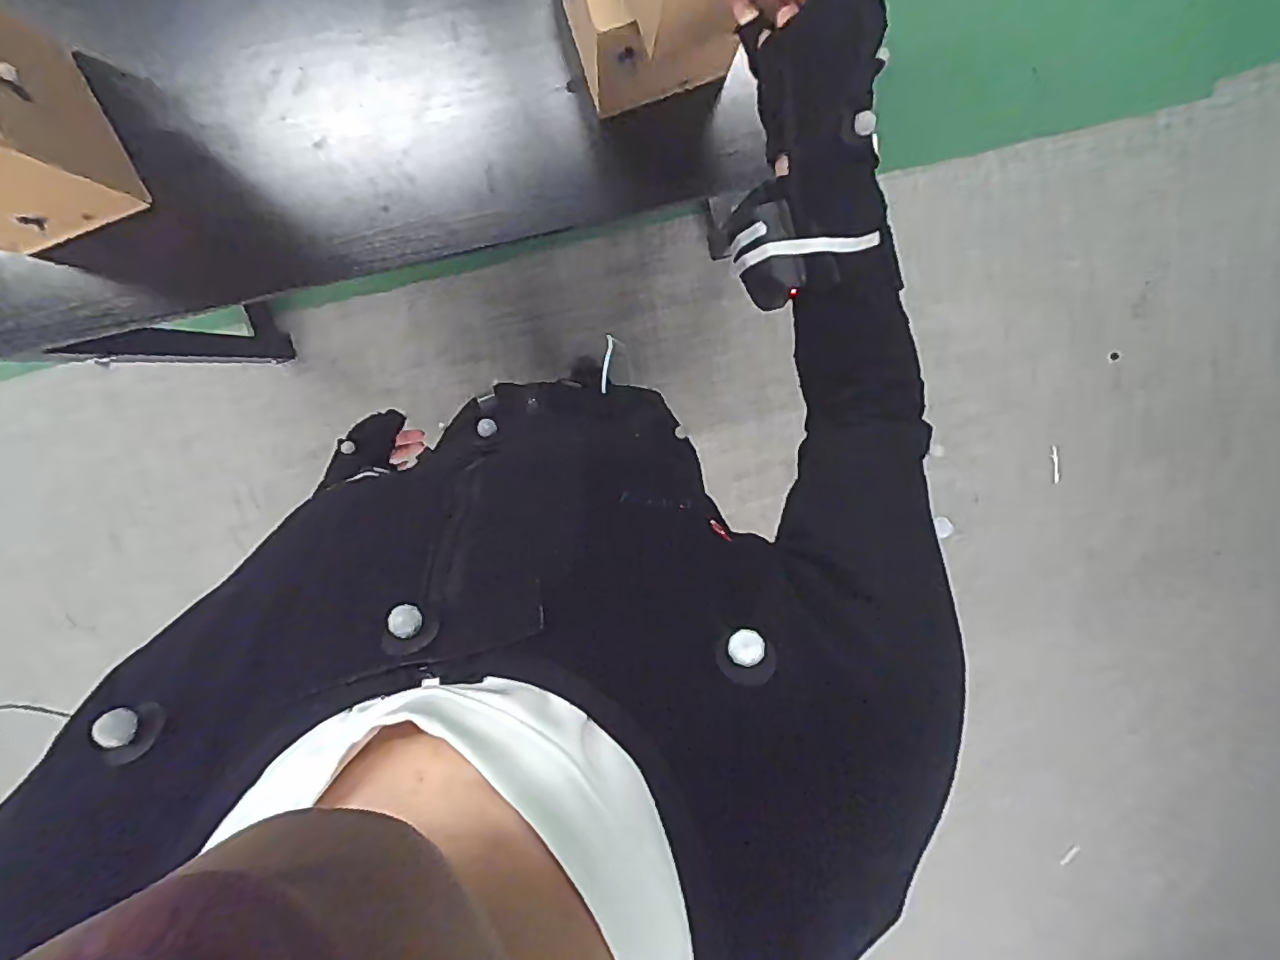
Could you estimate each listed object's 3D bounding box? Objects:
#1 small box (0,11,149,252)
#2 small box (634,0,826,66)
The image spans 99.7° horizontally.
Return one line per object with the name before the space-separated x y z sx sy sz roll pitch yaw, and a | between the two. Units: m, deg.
small box | -0.670 -0.356 0.541 0.168 0.176 0.179 -22 103 0
small box | 0.068 -0.446 0.376 0.168 0.176 0.179 -20 105 0
